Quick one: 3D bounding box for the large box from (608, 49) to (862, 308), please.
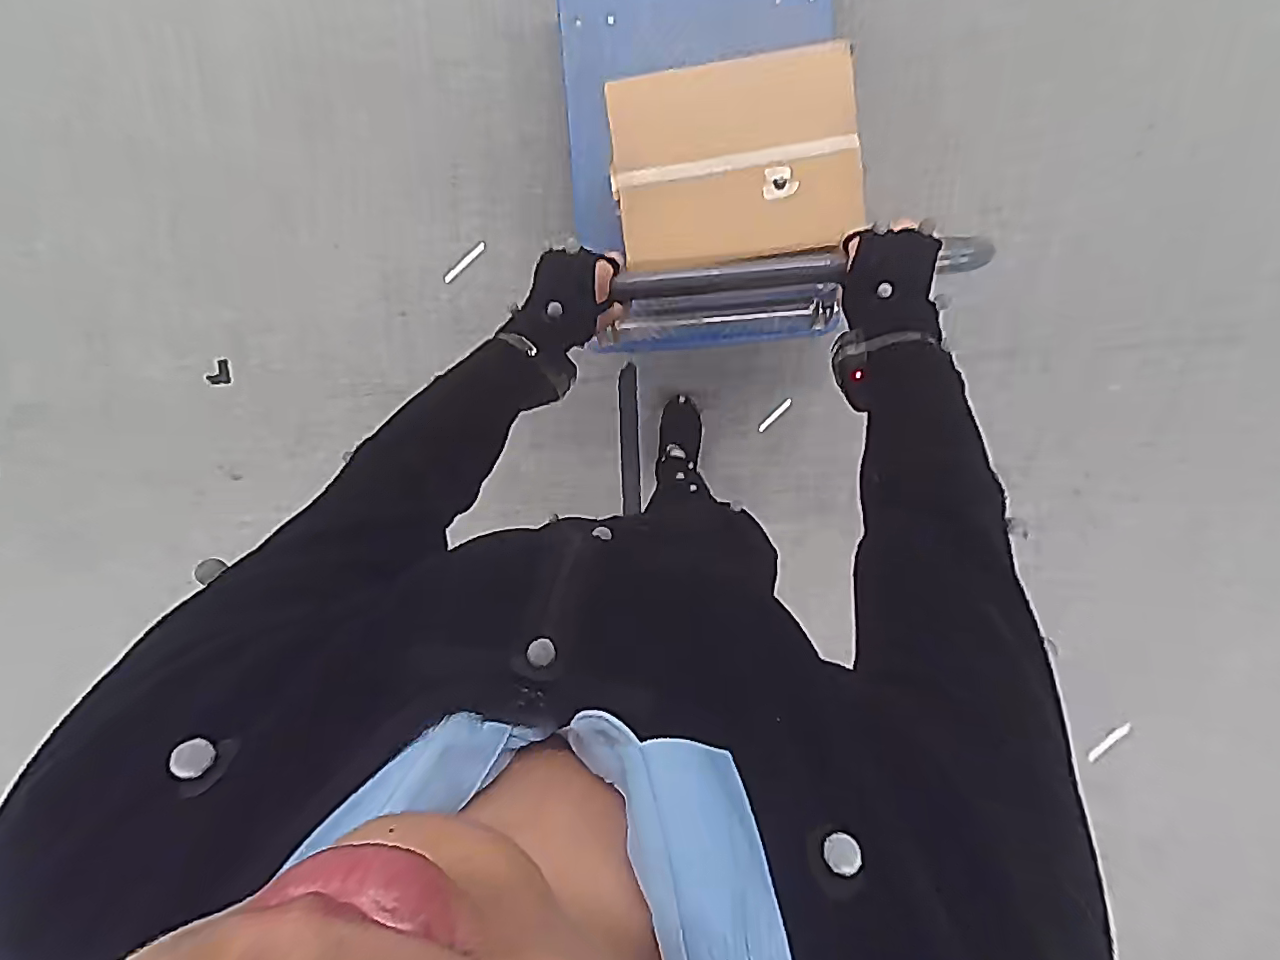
[{"bbox_3d":[0.166,-0.552,1.066,0.408,0.320,0.320,-8,98,2],"label":"large box"}]
